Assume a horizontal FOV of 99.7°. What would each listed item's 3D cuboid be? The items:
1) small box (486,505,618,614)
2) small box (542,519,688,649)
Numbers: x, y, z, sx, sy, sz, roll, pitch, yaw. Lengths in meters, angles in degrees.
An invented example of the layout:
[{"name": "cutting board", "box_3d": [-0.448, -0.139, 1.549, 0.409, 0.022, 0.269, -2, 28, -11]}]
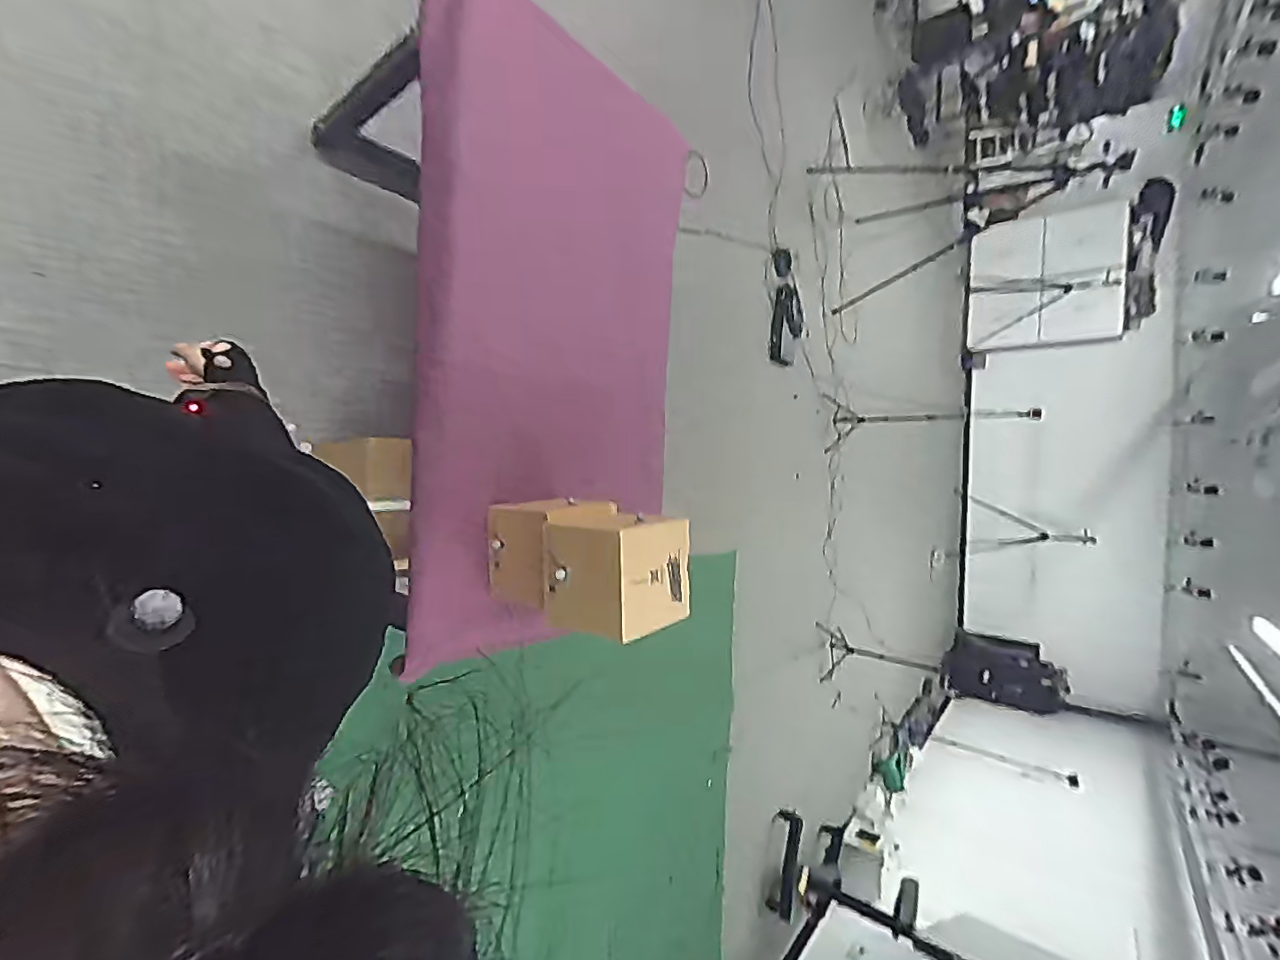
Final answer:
[{"name": "small box", "box_3d": [-0.157, 0.134, 0.986, 0.179, 0.176, 0.168, -3, 93, -51]}, {"name": "small box", "box_3d": [-0.037, 0.155, 0.875, 0.179, 0.176, 0.168, -3, 92, -51]}]
